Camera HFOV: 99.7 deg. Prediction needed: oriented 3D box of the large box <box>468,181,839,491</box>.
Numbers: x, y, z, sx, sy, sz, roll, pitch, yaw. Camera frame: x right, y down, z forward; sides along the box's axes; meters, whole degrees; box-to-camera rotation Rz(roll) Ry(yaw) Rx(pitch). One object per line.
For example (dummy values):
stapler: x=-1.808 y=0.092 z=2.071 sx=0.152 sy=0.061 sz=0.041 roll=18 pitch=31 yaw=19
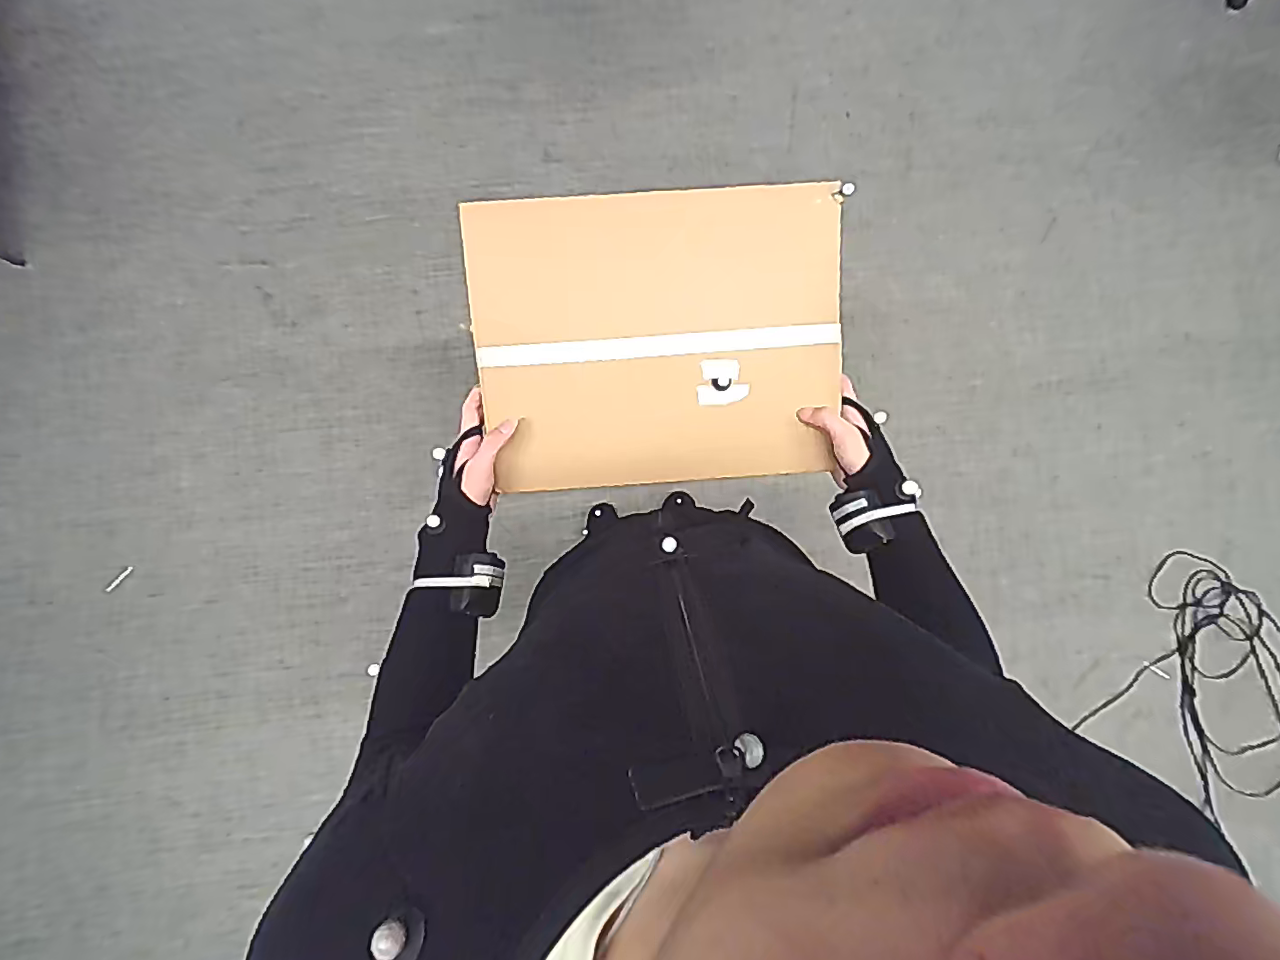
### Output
large box: x=0.018 y=-0.184 z=0.753 sx=0.408 sy=0.320 sz=0.320 roll=-5 pitch=102 yaw=-2
